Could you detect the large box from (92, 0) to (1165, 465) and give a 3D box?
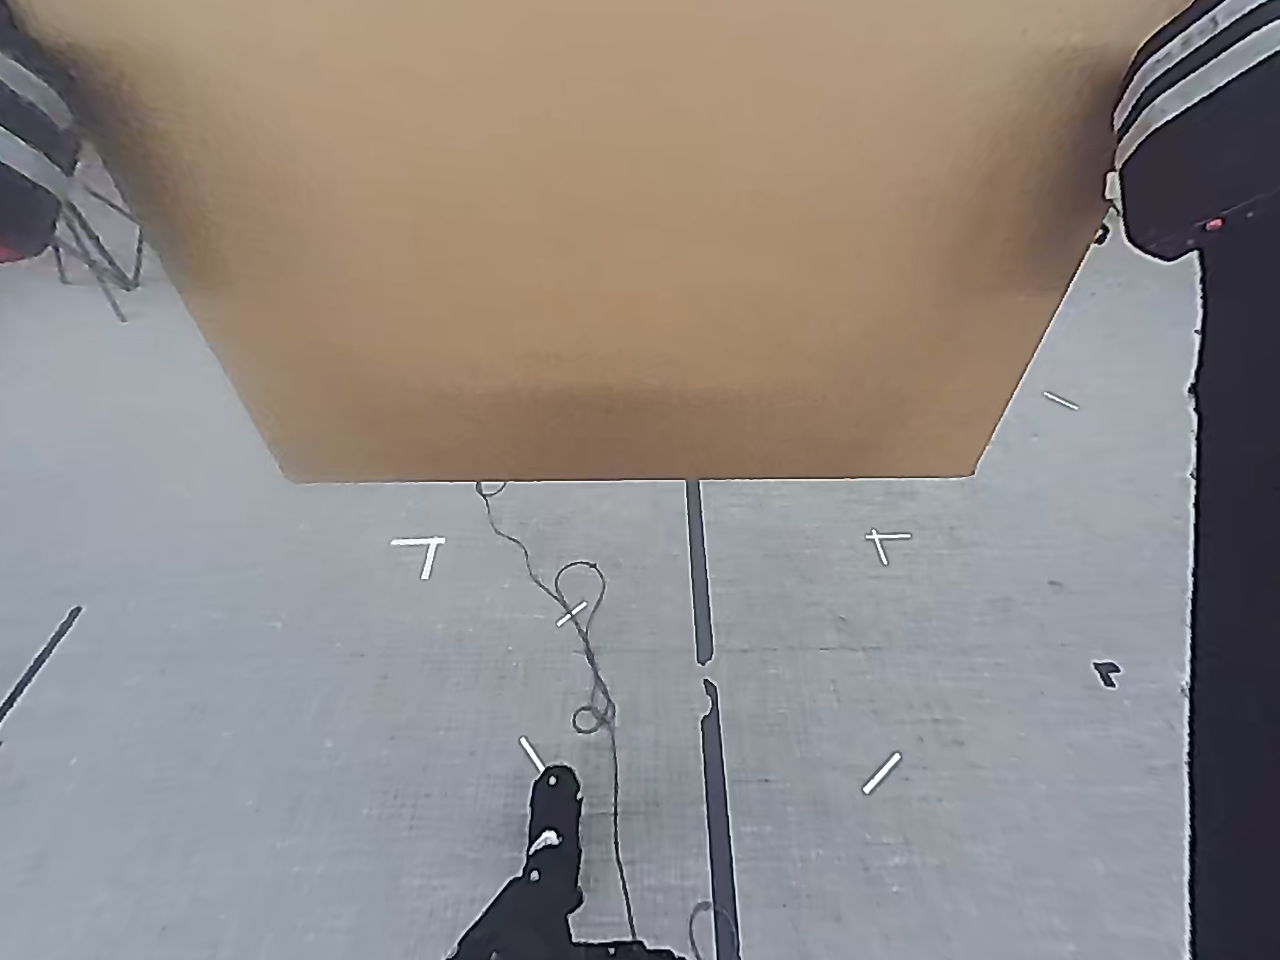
[{"bbox_3d":[-0.006,-0.220,0.350,0.408,0.320,0.320,0,41,-1],"label":"large box"}]
